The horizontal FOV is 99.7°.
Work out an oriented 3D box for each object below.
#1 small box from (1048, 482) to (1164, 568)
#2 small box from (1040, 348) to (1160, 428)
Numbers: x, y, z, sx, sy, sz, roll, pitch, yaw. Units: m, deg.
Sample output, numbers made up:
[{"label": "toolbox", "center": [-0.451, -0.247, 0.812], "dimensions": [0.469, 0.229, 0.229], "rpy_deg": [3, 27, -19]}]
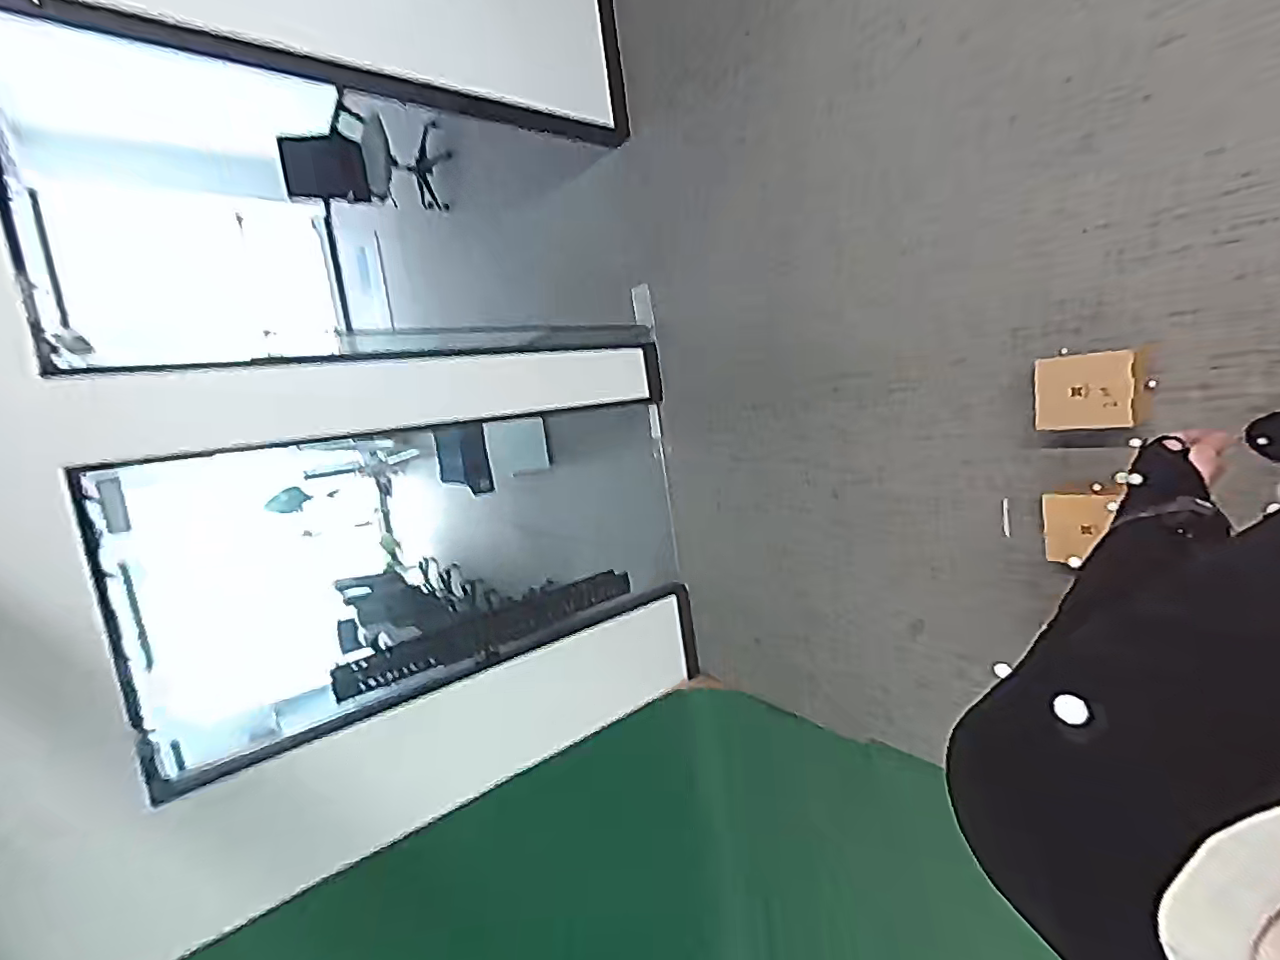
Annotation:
[{"label": "small box", "center": [1.104, 0.099, 1.282], "dimensions": [0.179, 0.176, 0.168], "rpy_deg": [0, 100, 53]}, {"label": "small box", "center": [1.058, -0.210, 1.248], "dimensions": [0.179, 0.176, 0.168], "rpy_deg": [5, 104, 54]}]
